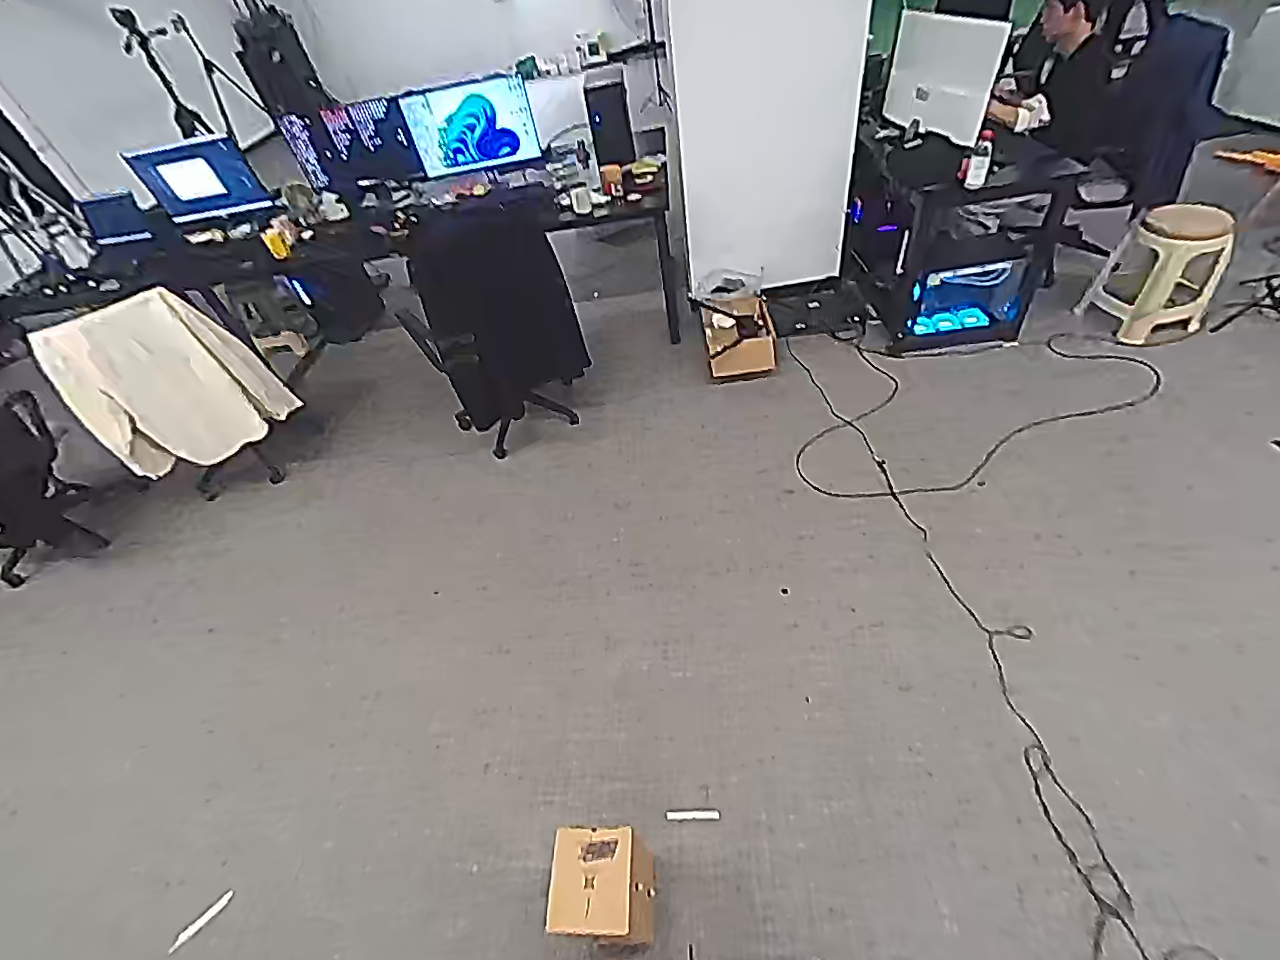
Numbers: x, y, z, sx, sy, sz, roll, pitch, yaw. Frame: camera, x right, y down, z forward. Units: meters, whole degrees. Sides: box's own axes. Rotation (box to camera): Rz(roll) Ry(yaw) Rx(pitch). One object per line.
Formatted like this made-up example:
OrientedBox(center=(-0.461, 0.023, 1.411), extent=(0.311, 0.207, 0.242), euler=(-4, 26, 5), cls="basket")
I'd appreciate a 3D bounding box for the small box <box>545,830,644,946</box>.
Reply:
OrientedBox(center=(-0.086, 0.857, 1.137), extent=(0.168, 0.176, 0.179), euler=(-5, 46, 8), cls="small box")
